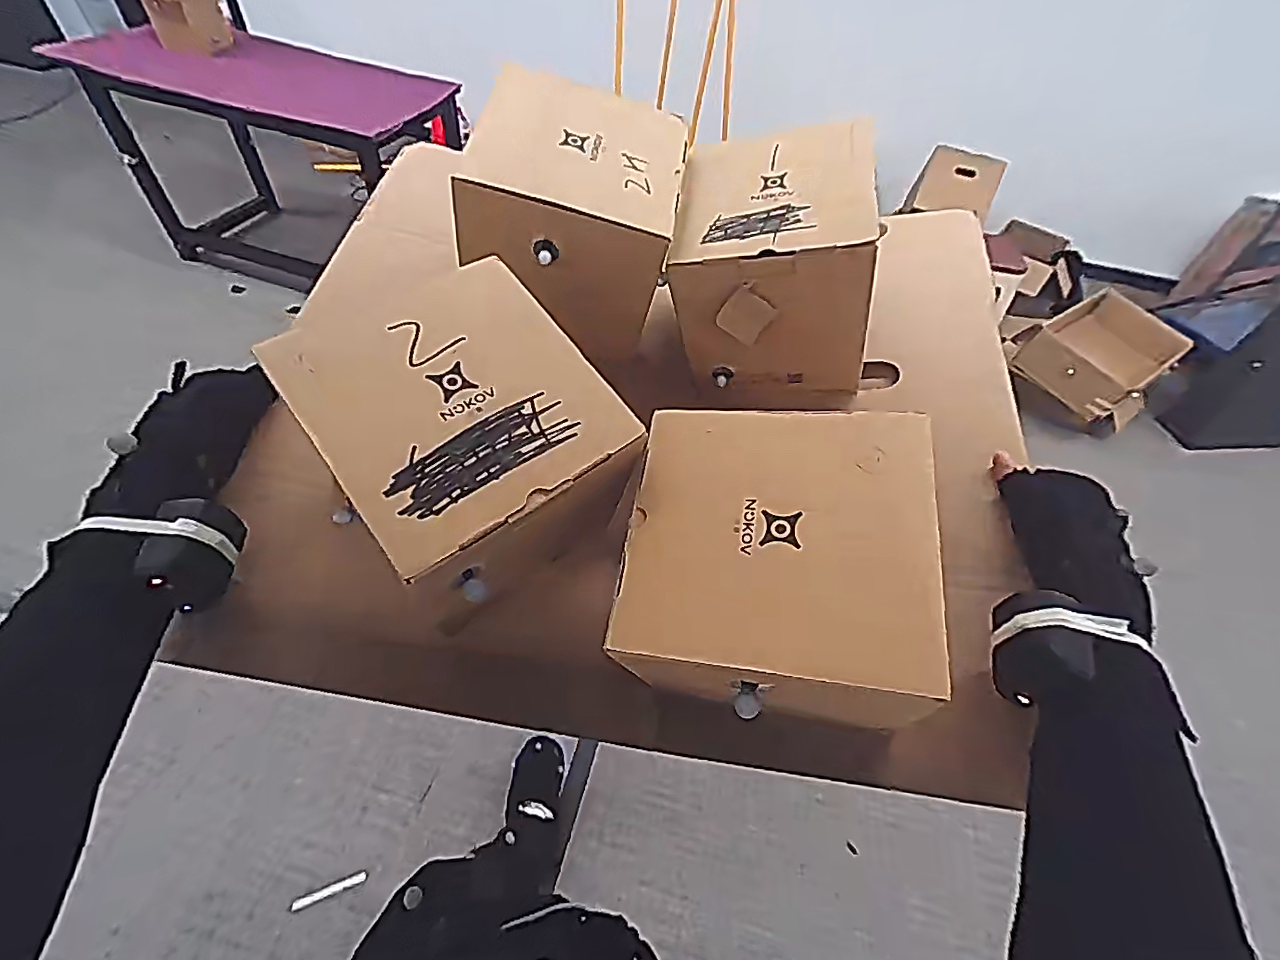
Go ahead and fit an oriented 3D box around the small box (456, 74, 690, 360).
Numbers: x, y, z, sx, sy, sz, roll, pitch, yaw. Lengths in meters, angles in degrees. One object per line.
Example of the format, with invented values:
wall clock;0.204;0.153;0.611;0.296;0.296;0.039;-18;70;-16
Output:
small box;-0.065;-0.244;0.534;0.179;0.176;0.168;14;62;-8
